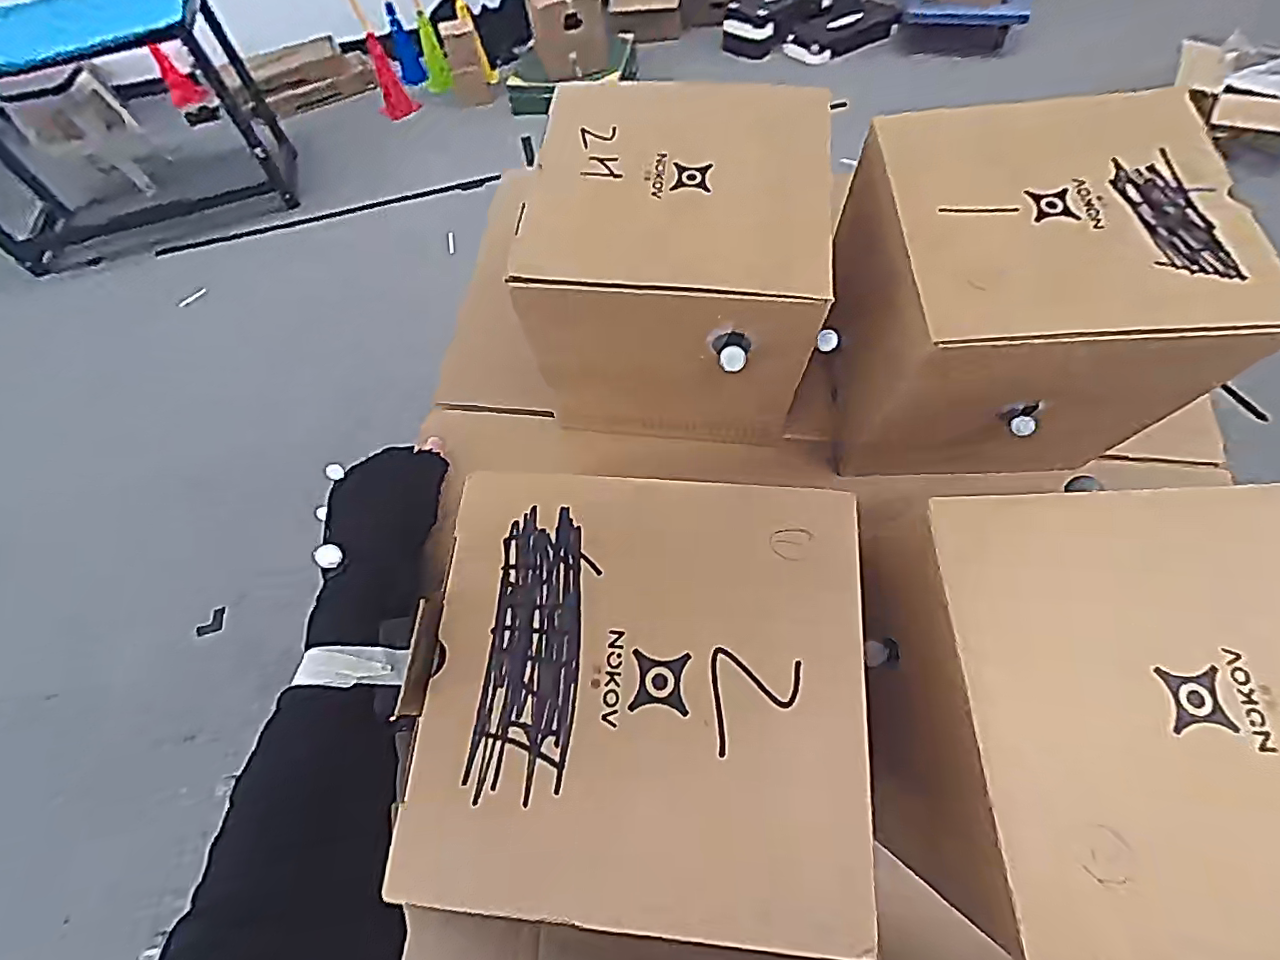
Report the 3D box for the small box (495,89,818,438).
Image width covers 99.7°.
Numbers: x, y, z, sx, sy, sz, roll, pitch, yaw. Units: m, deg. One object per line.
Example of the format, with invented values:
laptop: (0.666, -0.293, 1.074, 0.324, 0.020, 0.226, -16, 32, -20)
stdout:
small box: (0.020, -0.143, 0.394, 0.179, 0.176, 0.168, 6, 67, 6)
